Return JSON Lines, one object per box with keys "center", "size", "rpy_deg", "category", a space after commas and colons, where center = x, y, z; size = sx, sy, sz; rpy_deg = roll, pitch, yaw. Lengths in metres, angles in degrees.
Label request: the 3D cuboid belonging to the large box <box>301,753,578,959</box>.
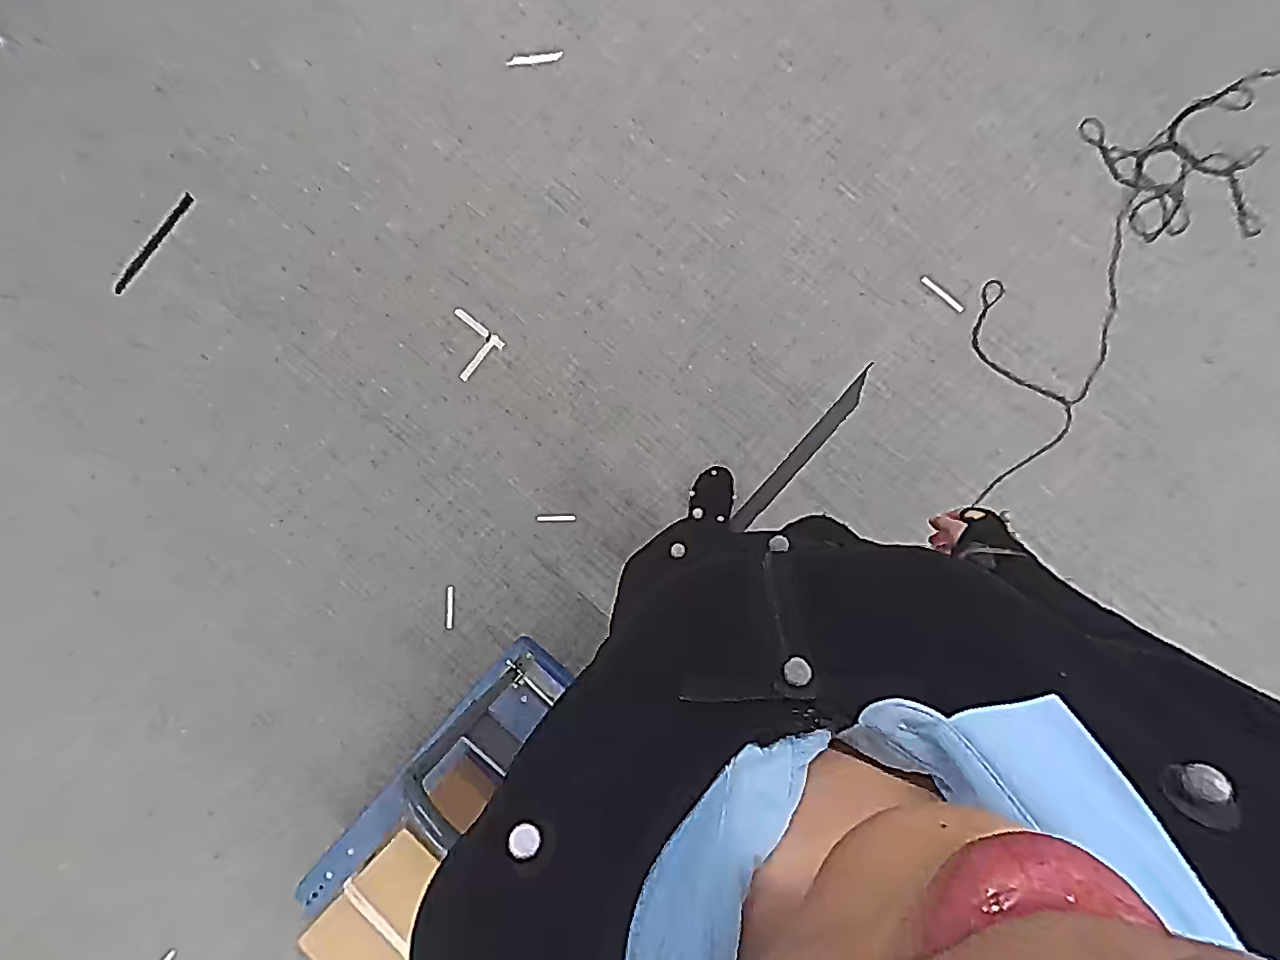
{"center": [-0.397, 0.898, 1.168], "size": [0.408, 0.320, 0.320], "rpy_deg": [43, 91, 3], "category": "large box"}
